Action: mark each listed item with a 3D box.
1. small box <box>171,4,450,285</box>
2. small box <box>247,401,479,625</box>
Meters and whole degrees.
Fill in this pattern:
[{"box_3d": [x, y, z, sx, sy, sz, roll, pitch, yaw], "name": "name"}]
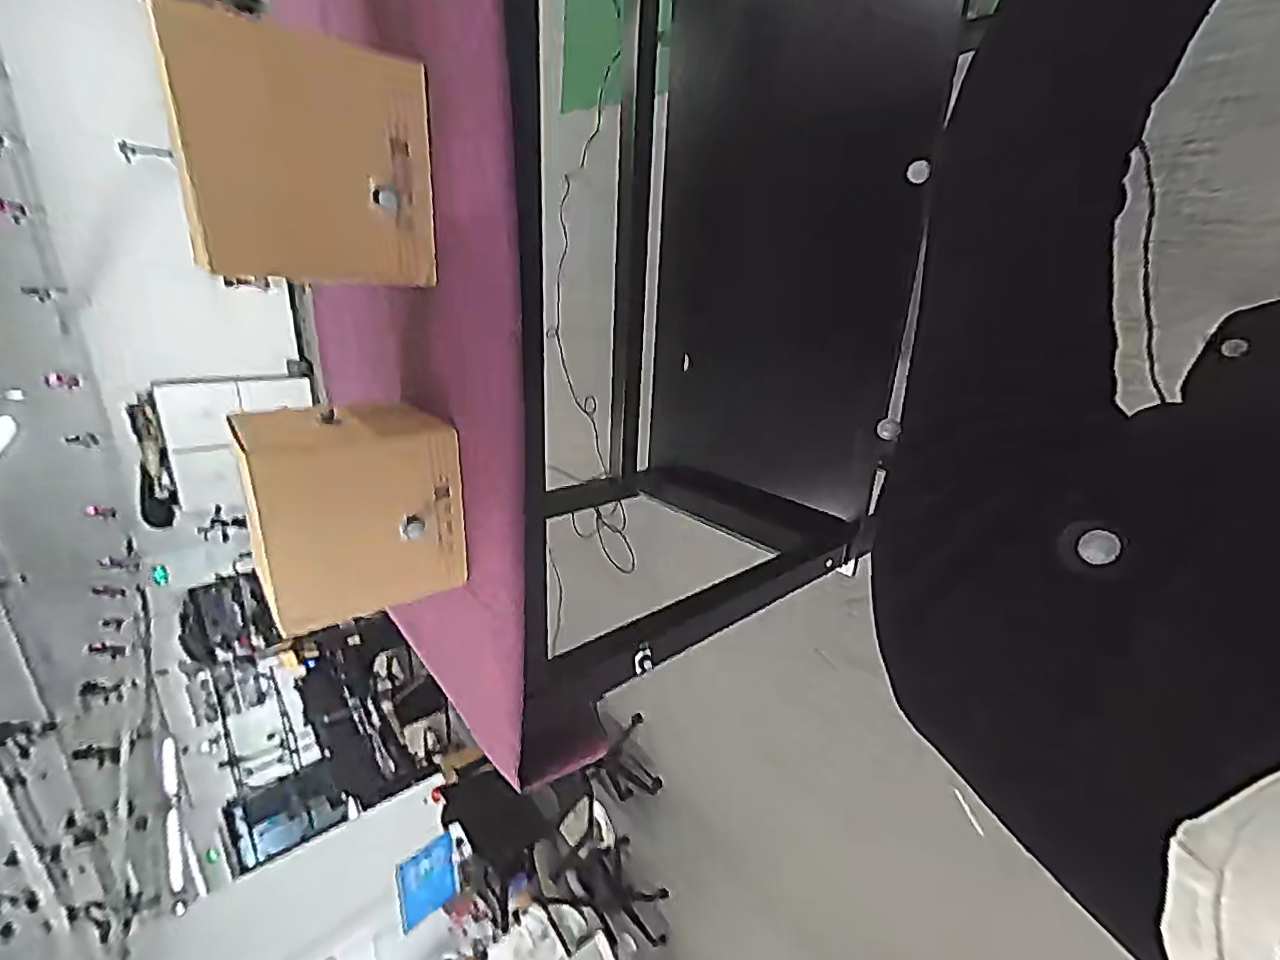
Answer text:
[{"box_3d": [-0.281, -0.264, 0.474, 0.179, 0.176, 0.168, 26, 122, 45], "name": "small box"}, {"box_3d": [-0.280, 0.015, 0.555, 0.179, 0.176, 0.168, 22, 118, 46], "name": "small box"}]
